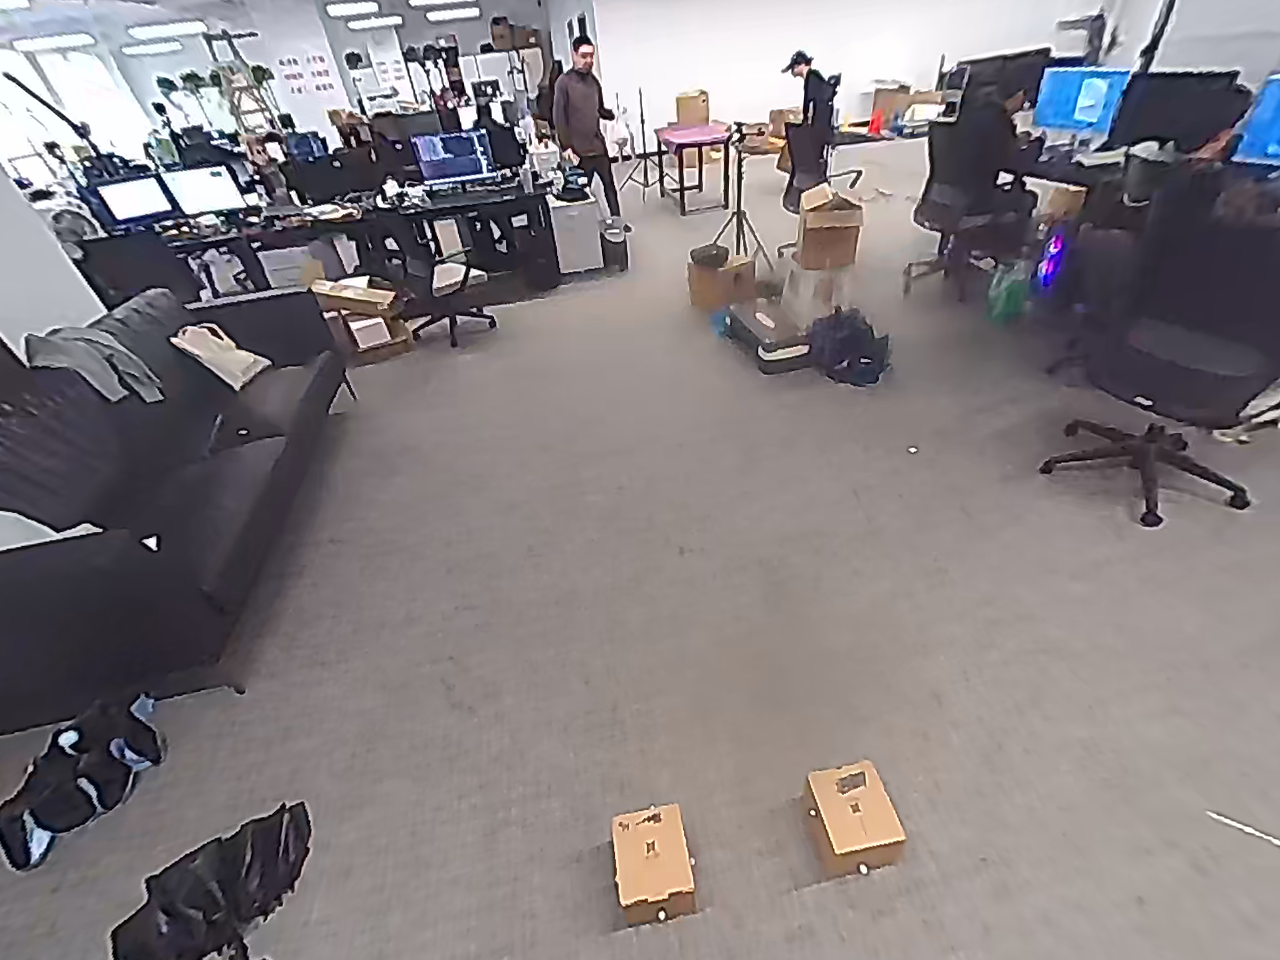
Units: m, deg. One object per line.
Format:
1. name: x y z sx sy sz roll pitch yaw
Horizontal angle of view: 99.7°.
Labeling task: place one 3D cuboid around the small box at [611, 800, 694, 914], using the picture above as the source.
1. small box: 0.030 0.898 1.282 0.168 0.176 0.179 -10 39 -3

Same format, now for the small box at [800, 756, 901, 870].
1. small box: 0.498 0.807 1.310 0.168 0.176 0.179 -11 40 -2
